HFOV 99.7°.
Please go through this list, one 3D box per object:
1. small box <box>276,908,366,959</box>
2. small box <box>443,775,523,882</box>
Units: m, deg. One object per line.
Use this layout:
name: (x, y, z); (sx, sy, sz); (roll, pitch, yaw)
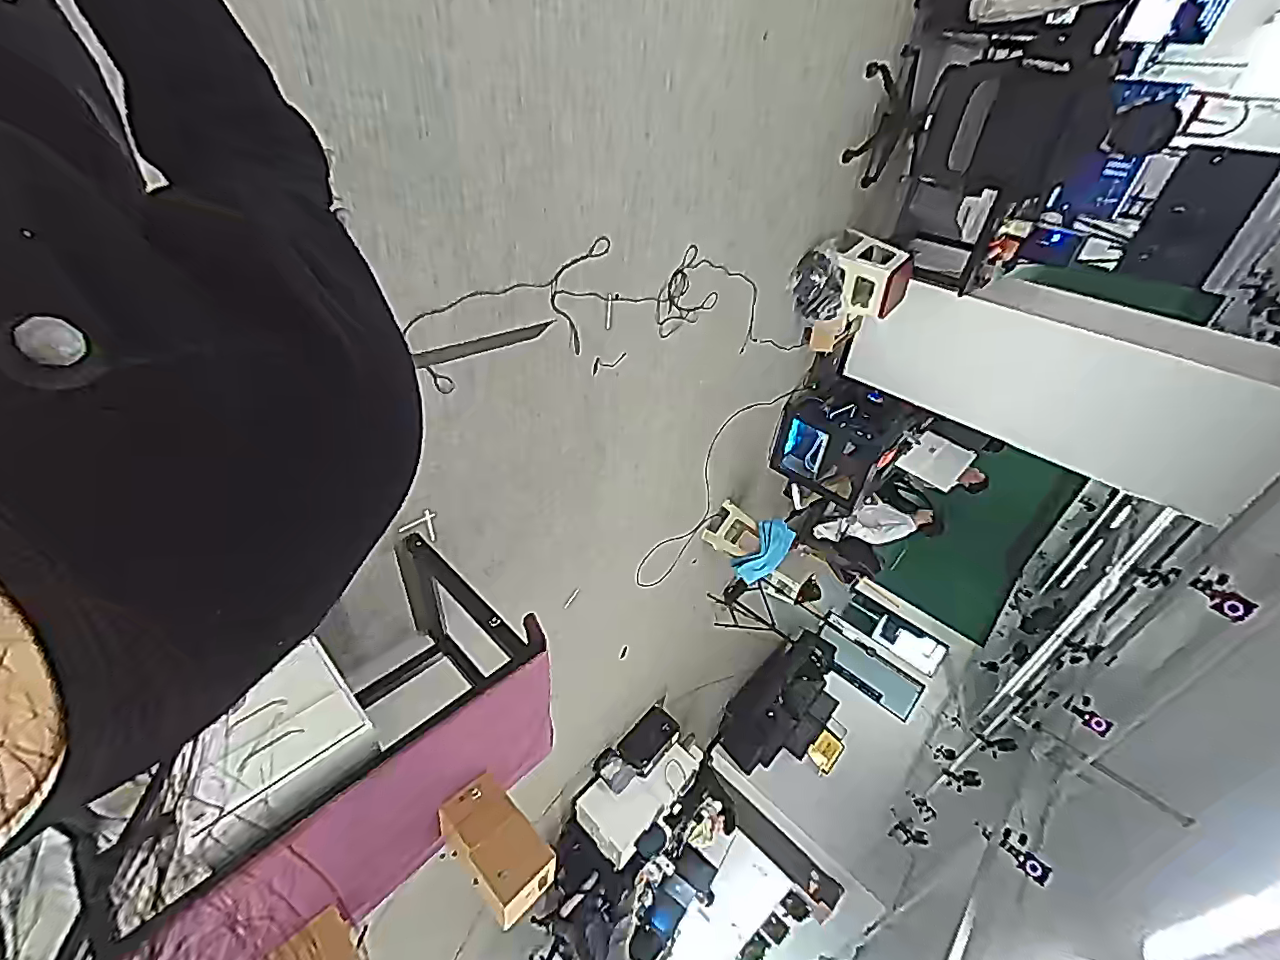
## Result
small box: (-0.785, 1.226, 1.333); (0.179, 0.176, 0.168); (-27, 138, -41)
small box: (-0.467, 1.028, 1.609); (0.168, 0.176, 0.179); (-26, 135, -43)
